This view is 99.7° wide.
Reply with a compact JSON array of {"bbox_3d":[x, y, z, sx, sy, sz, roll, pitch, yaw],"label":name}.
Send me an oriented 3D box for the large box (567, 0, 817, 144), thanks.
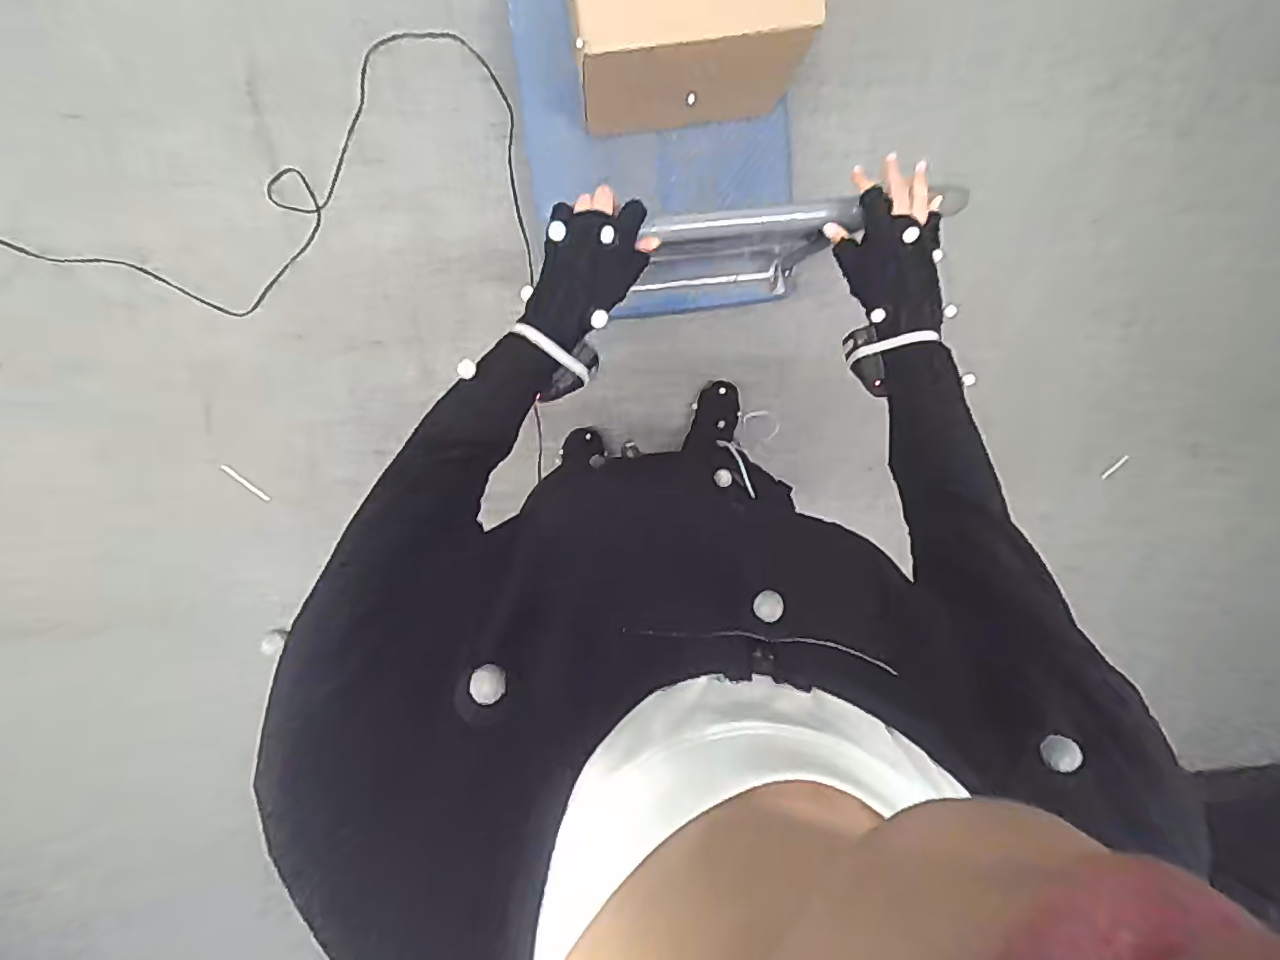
[{"bbox_3d":[0.071,-0.880,1.011,0.408,0.320,0.320,-8,99,-1],"label":"large box"}]
